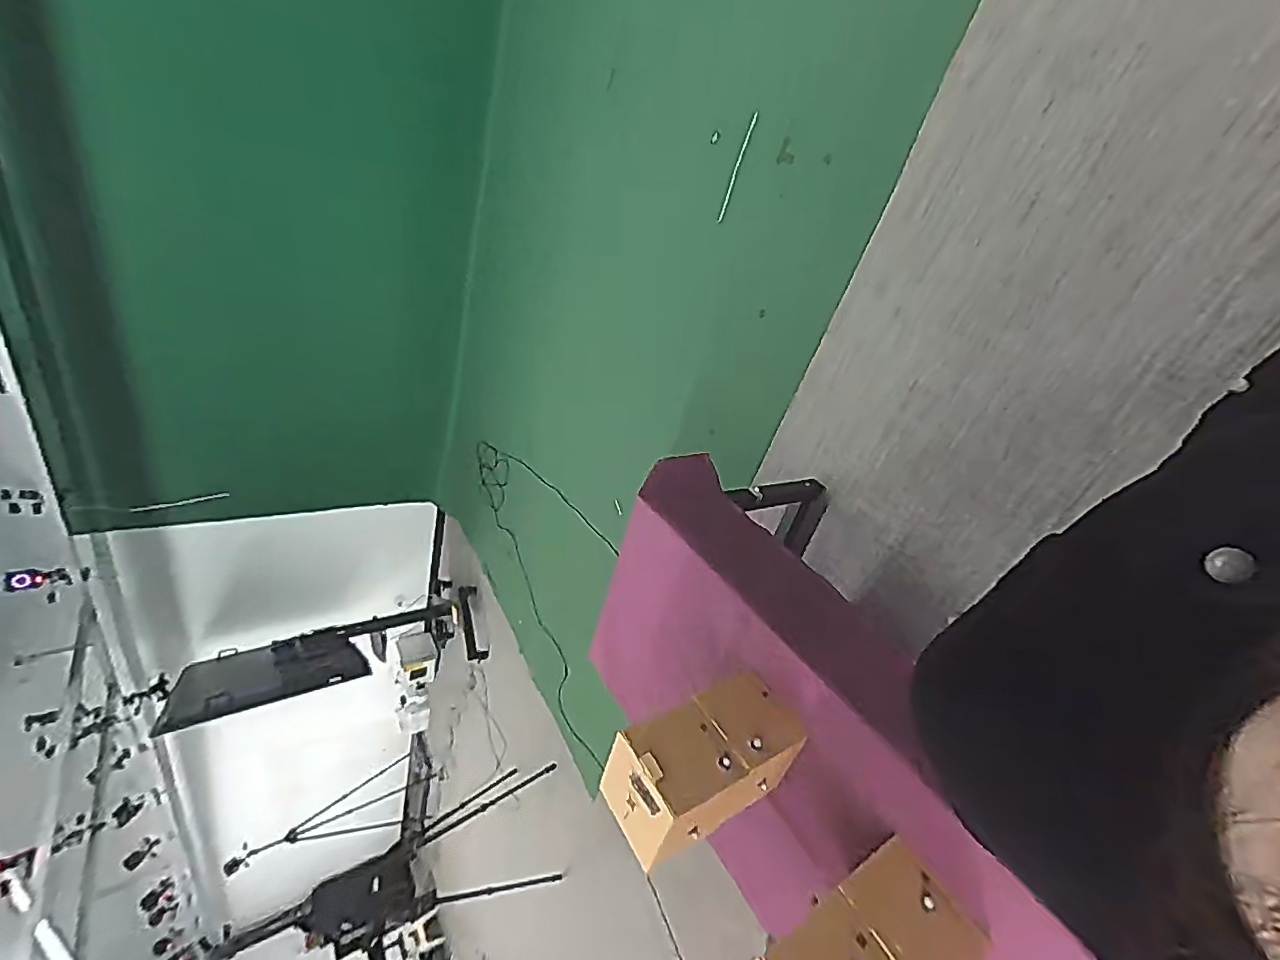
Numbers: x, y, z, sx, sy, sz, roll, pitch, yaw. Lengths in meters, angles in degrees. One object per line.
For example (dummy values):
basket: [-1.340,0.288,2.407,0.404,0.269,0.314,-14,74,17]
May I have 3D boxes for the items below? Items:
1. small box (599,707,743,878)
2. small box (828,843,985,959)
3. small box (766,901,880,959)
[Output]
small box: [0.054,0.537,0.951,0.168,0.176,0.179,44,130,42]
small box: [0.374,0.702,0.815,0.168,0.176,0.179,46,129,40]
small box: [0.240,0.718,0.720,0.168,0.176,0.179,46,129,41]
